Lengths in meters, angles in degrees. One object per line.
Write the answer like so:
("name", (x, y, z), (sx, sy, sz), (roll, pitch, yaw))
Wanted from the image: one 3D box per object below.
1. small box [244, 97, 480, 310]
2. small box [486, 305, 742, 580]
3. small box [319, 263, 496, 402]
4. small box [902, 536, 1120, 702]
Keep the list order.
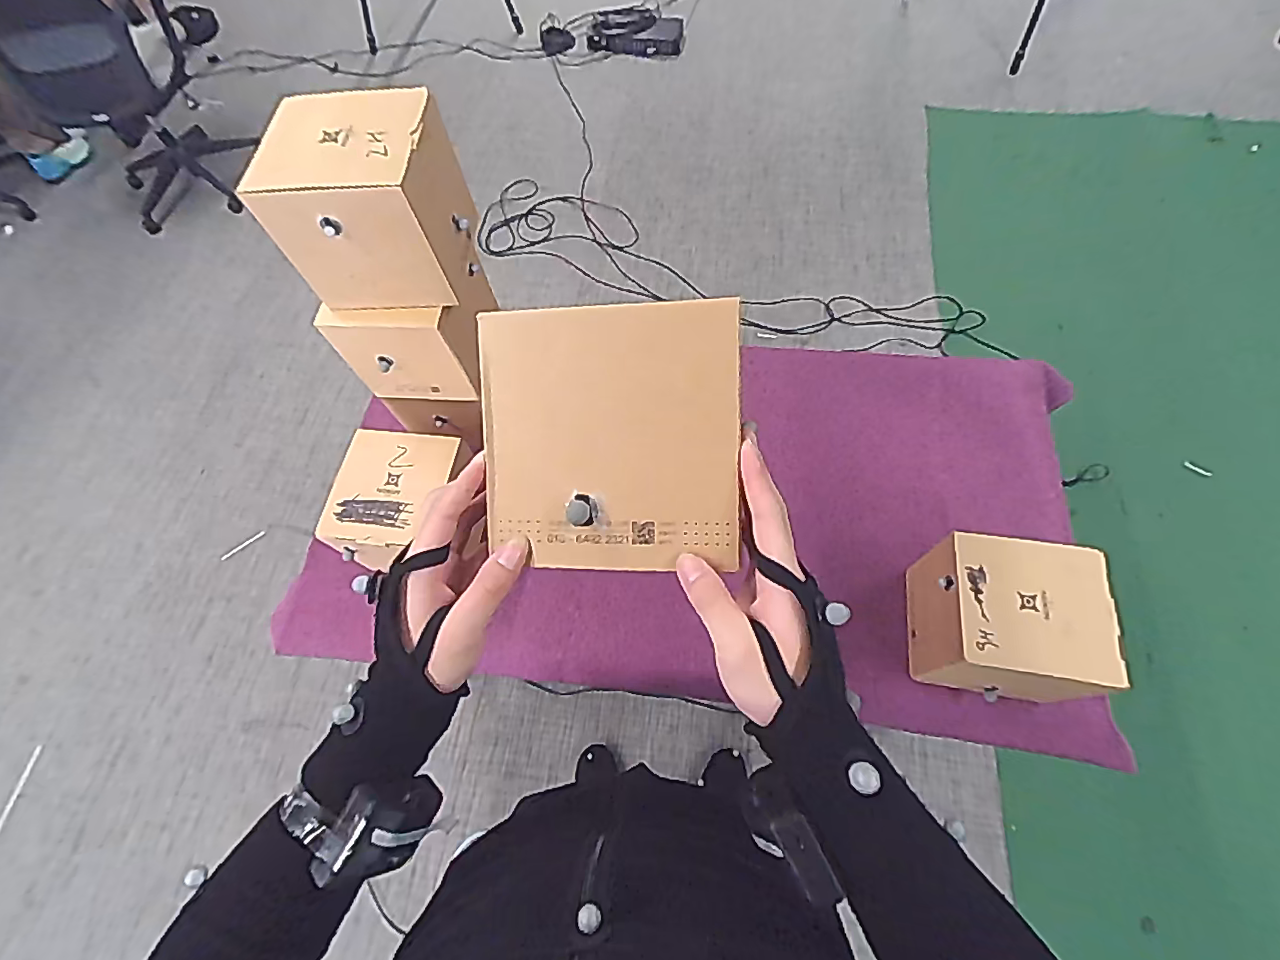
("small box", (-0.314, -0.323, 0.653), (0.179, 0.176, 0.168), (0, 64, 3))
("small box", (-0.007, -0.028, 0.422), (0.168, 0.179, 0.176), (-1, 95, 9))
("small box", (-0.320, -0.229, 0.791), (0.168, 0.176, 0.179), (3, 64, 5))
("small box", (0.471, 0.191, 0.718), (0.179, 0.176, 0.168), (8, 63, 8))
